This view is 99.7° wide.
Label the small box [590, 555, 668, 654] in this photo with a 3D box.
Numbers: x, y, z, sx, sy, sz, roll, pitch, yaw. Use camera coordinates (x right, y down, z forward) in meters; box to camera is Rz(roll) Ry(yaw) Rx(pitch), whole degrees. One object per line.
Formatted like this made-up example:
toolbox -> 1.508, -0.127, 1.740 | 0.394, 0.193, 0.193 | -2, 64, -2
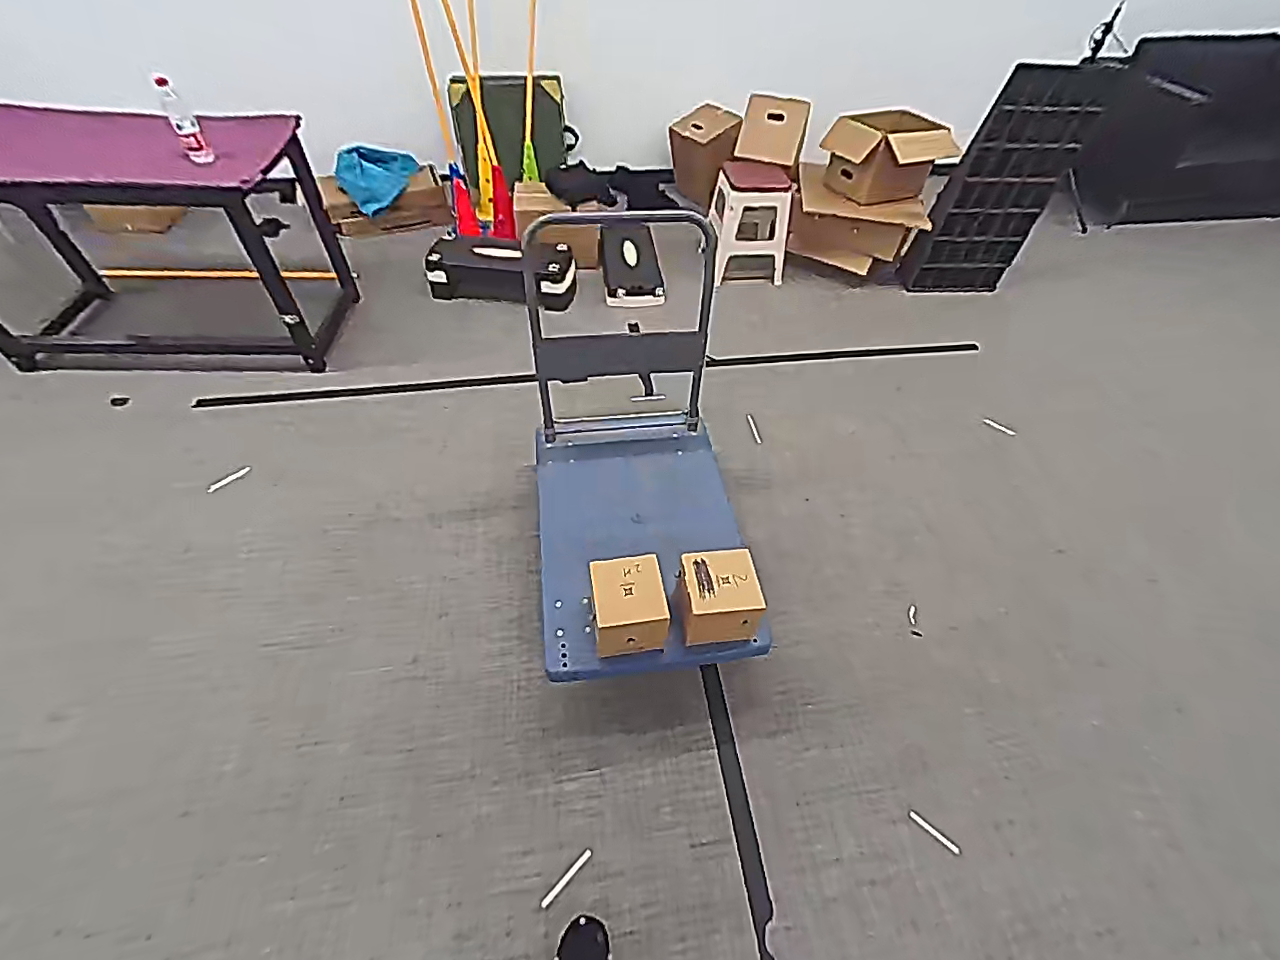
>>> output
small box -> -0.030, 0.310, 1.320 | 0.168, 0.176, 0.179 | -6, 50, -8
